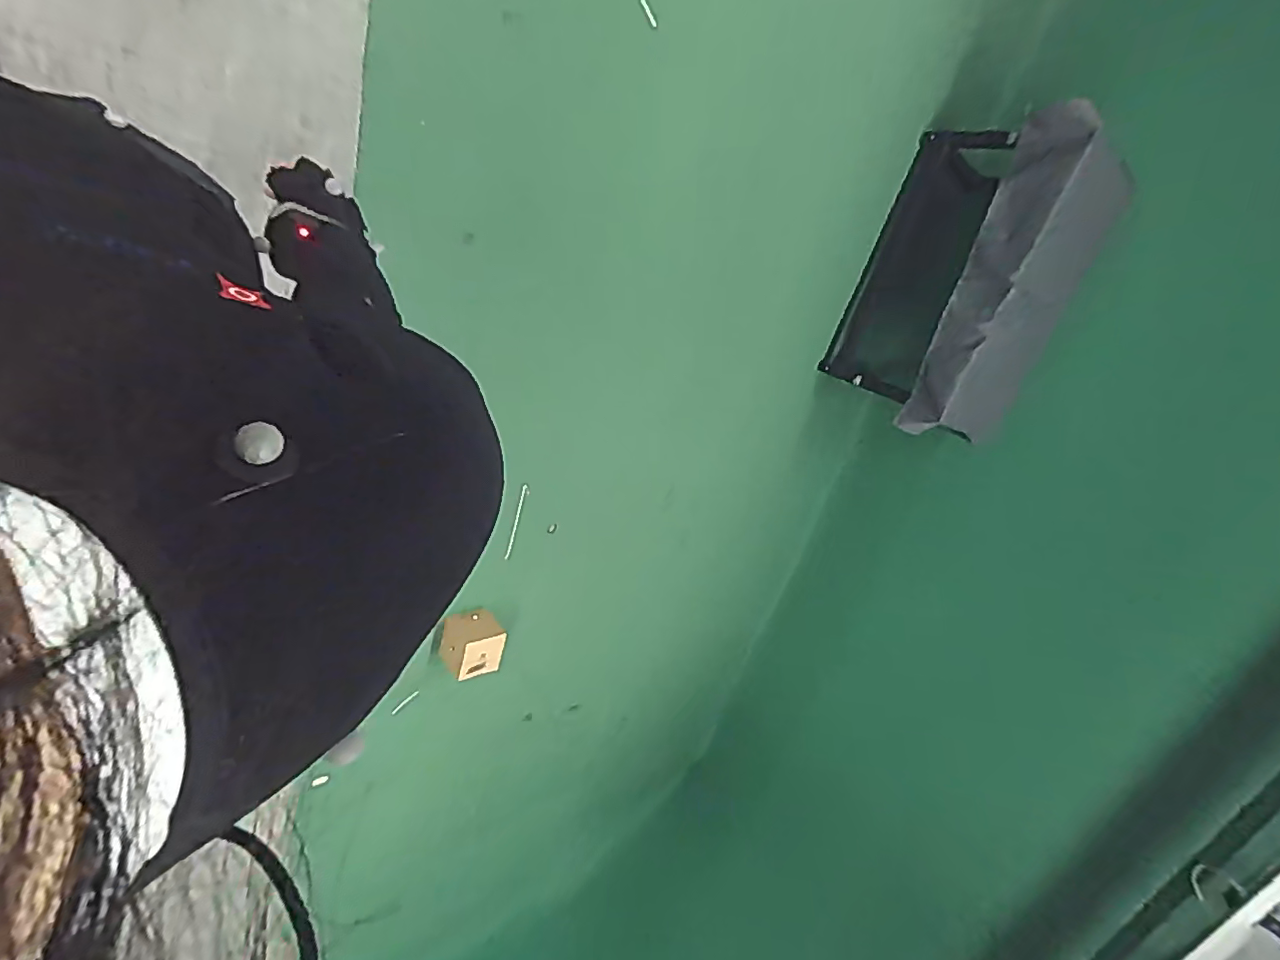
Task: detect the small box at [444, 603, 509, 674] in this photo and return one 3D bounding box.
[{"bbox_3d":[-0.625,0.599,2.055,0.168,0.176,0.179,-3,119,-45],"label":"small box"}]
